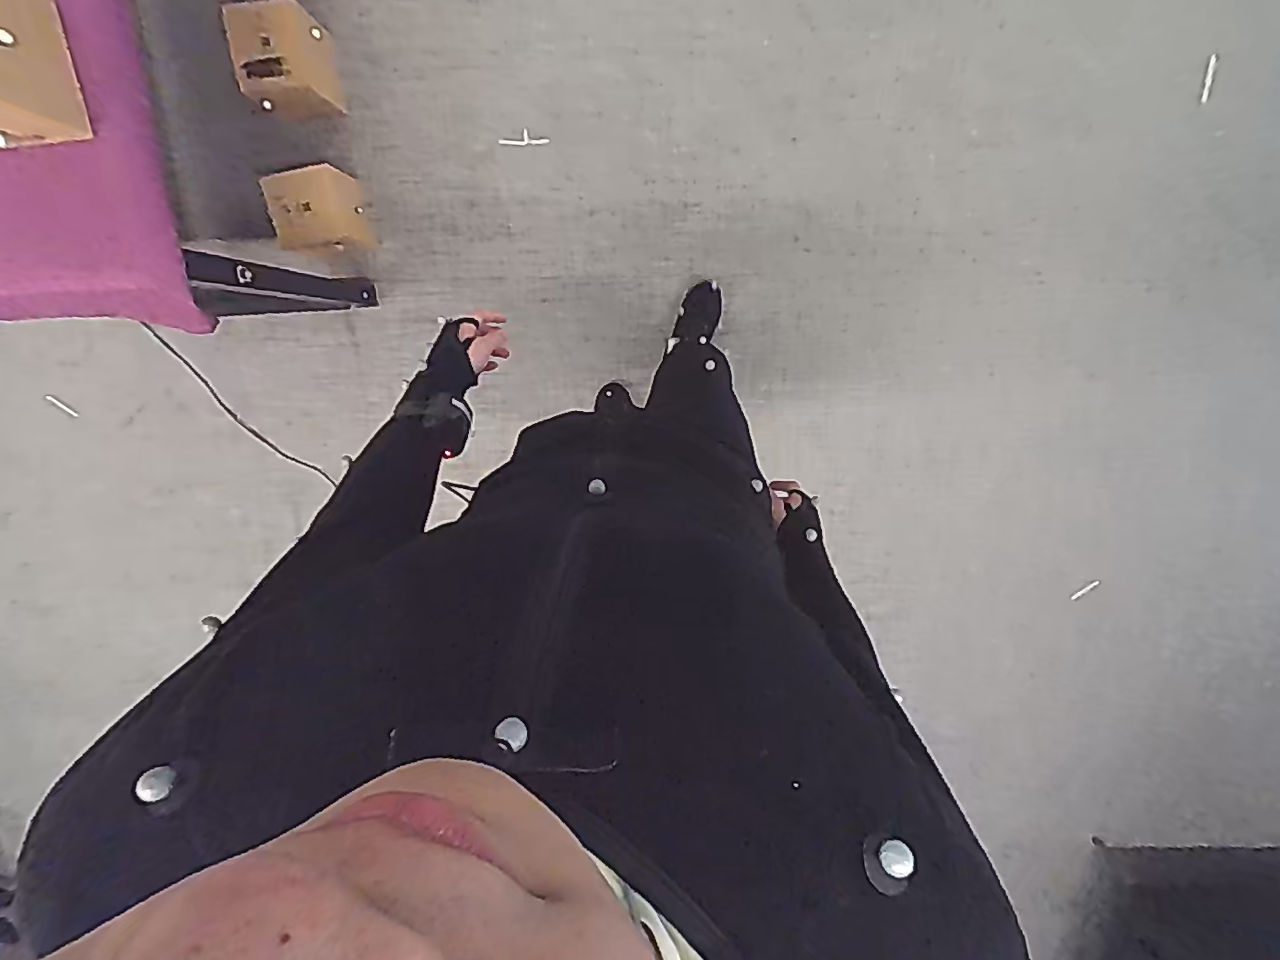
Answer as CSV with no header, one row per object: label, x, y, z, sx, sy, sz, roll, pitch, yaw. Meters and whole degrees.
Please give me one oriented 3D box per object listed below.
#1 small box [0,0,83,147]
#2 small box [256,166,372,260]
small box,-0.853,-0.532,0.653,0.168,0.176,0.179,-4,104,3
small box,-0.809,-0.668,1.369,0.179,0.176,0.168,-10,104,3
